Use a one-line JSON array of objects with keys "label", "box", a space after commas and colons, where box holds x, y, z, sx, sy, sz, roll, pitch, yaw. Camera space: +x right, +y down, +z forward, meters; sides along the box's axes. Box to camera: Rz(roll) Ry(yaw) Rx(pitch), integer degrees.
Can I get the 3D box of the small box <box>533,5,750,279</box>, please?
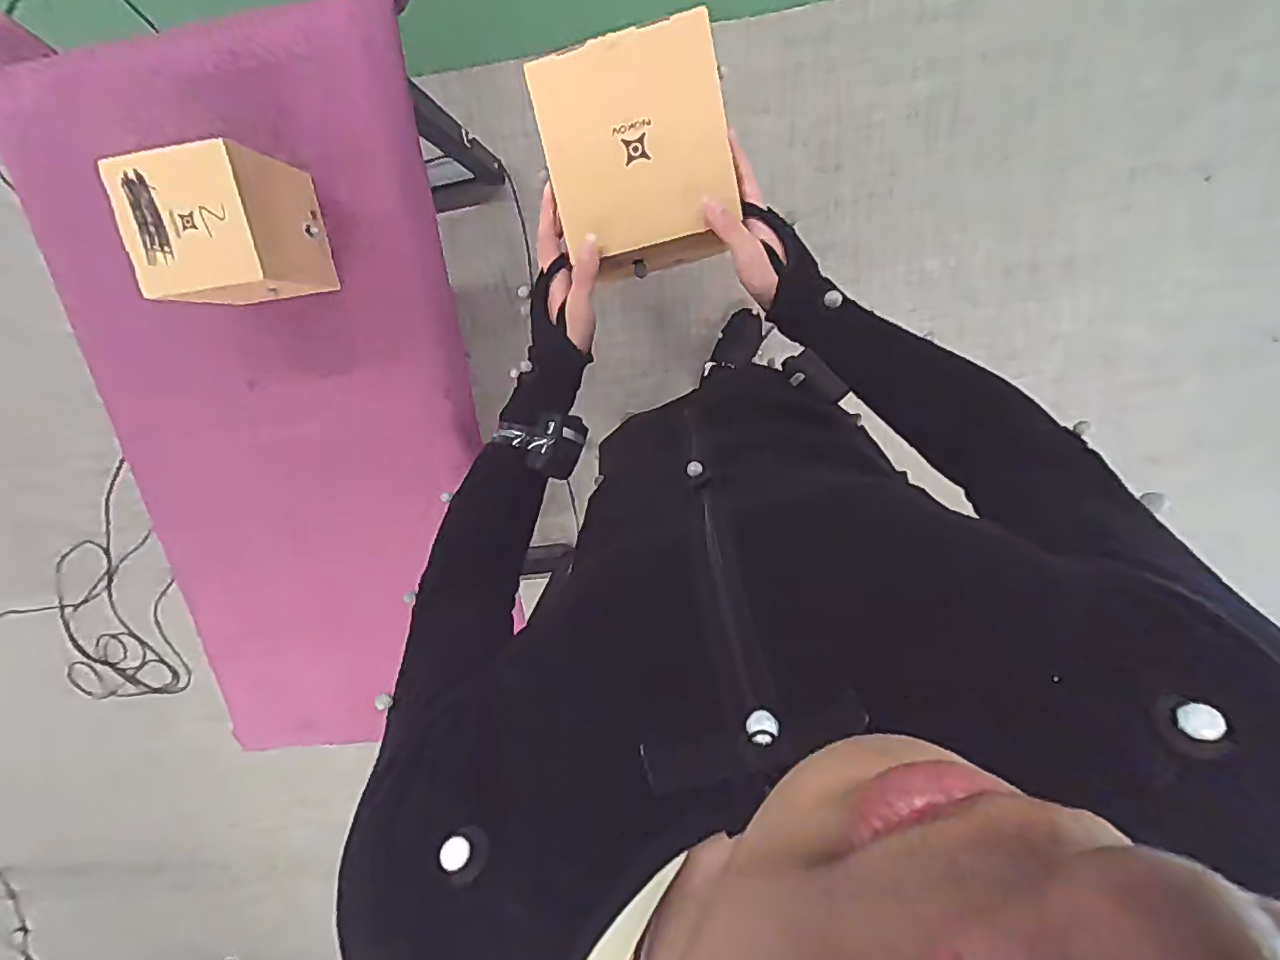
[{"label": "small box", "box": [0.010, -0.316, 0.555, 0.168, 0.176, 0.179, -12, 101, 7]}]
